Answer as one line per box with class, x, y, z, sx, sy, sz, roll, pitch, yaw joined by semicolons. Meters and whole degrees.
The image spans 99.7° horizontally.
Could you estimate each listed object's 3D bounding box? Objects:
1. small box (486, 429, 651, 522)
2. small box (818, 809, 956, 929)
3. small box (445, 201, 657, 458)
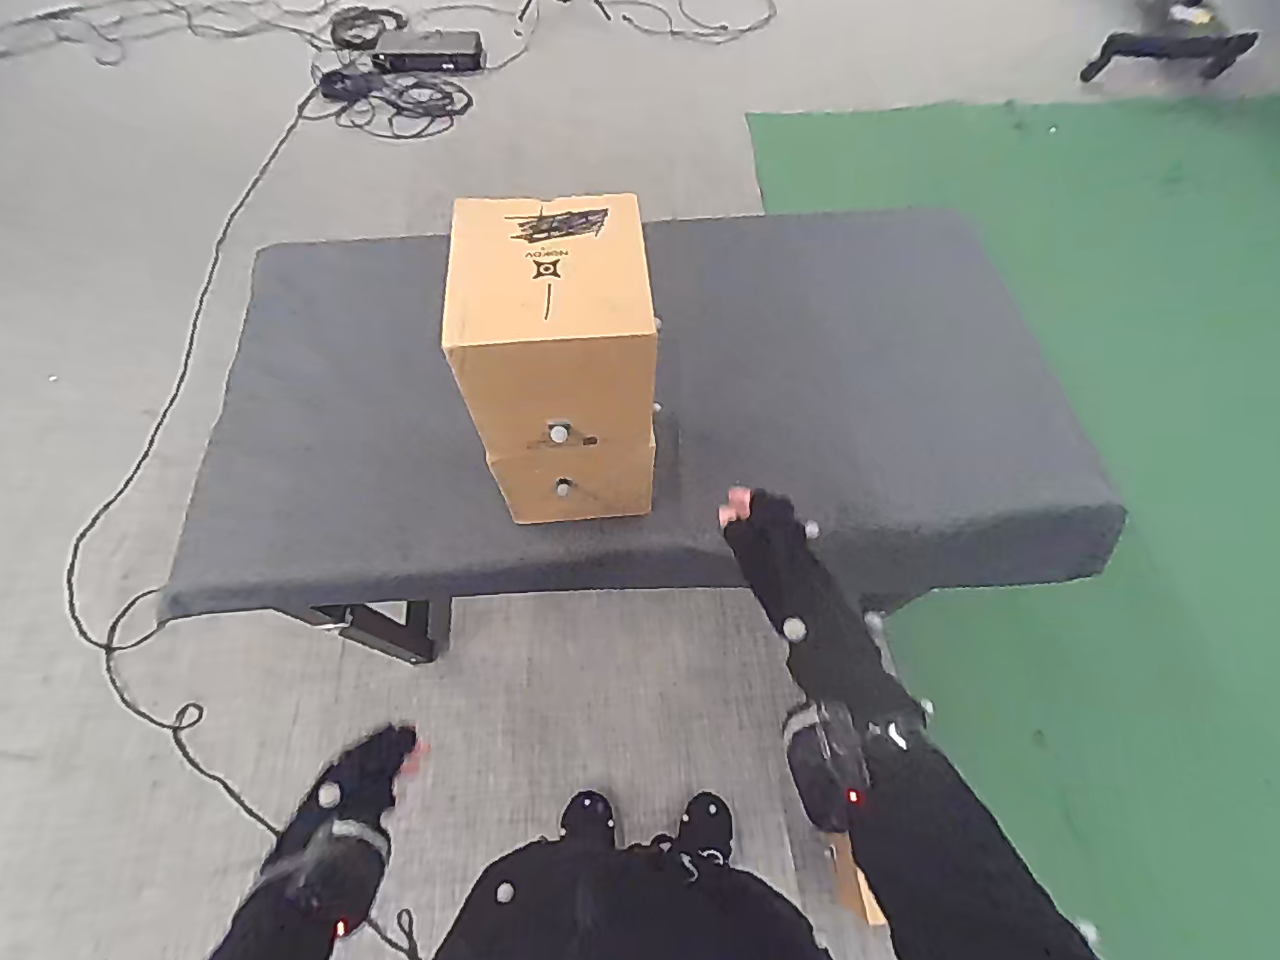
small box;-0.078;-0.057;0.667;0.179;0.176;0.168;-4;62;-3
small box;0.476;0.760;1.073;0.179;0.176;0.168;-5;62;-2
small box;-0.075;-0.140;0.524;0.168;0.176;0.179;-4;62;-3
